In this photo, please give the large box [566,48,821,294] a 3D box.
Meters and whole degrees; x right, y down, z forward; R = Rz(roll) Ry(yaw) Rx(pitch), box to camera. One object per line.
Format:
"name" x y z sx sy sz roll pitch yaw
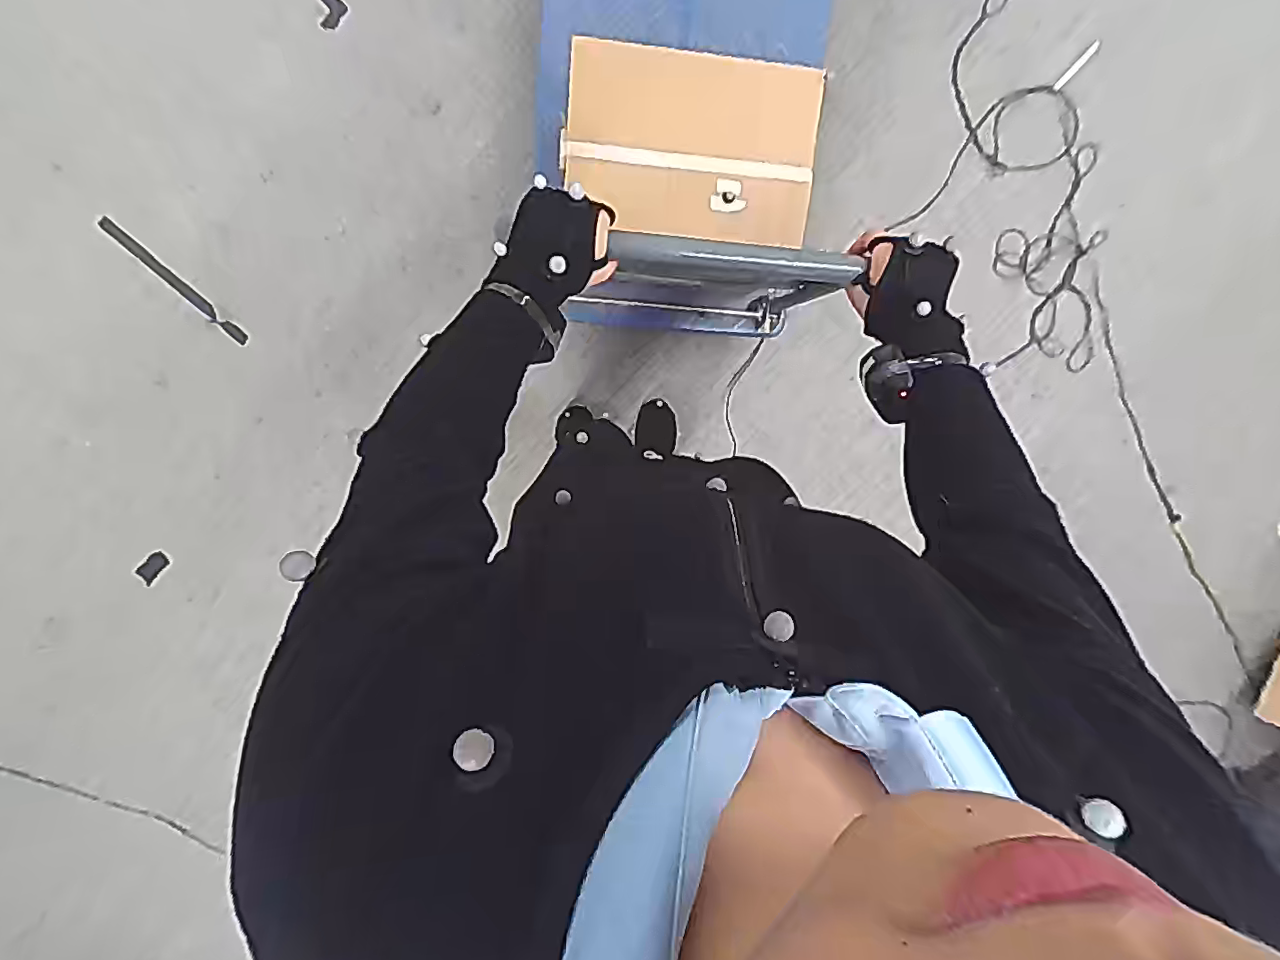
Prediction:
"large box" 0.071 -0.541 1.025 0.408 0.320 0.320 4 104 -5
